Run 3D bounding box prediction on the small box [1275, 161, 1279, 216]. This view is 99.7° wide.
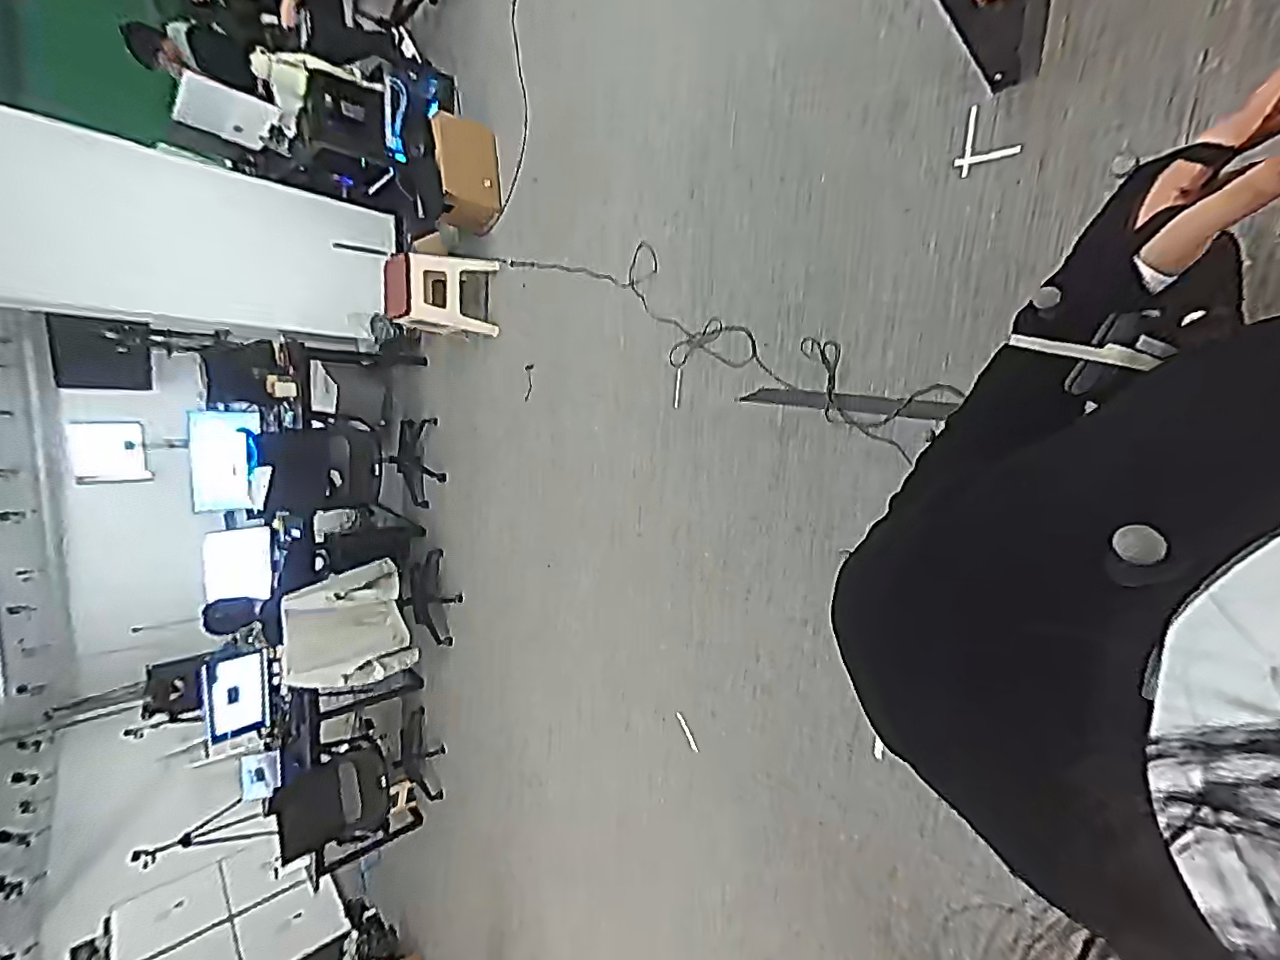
[{"bbox_3d":[0.459,-0.245,0.267,0.168,0.176,0.179,13,103,45],"label":"small box"}]
